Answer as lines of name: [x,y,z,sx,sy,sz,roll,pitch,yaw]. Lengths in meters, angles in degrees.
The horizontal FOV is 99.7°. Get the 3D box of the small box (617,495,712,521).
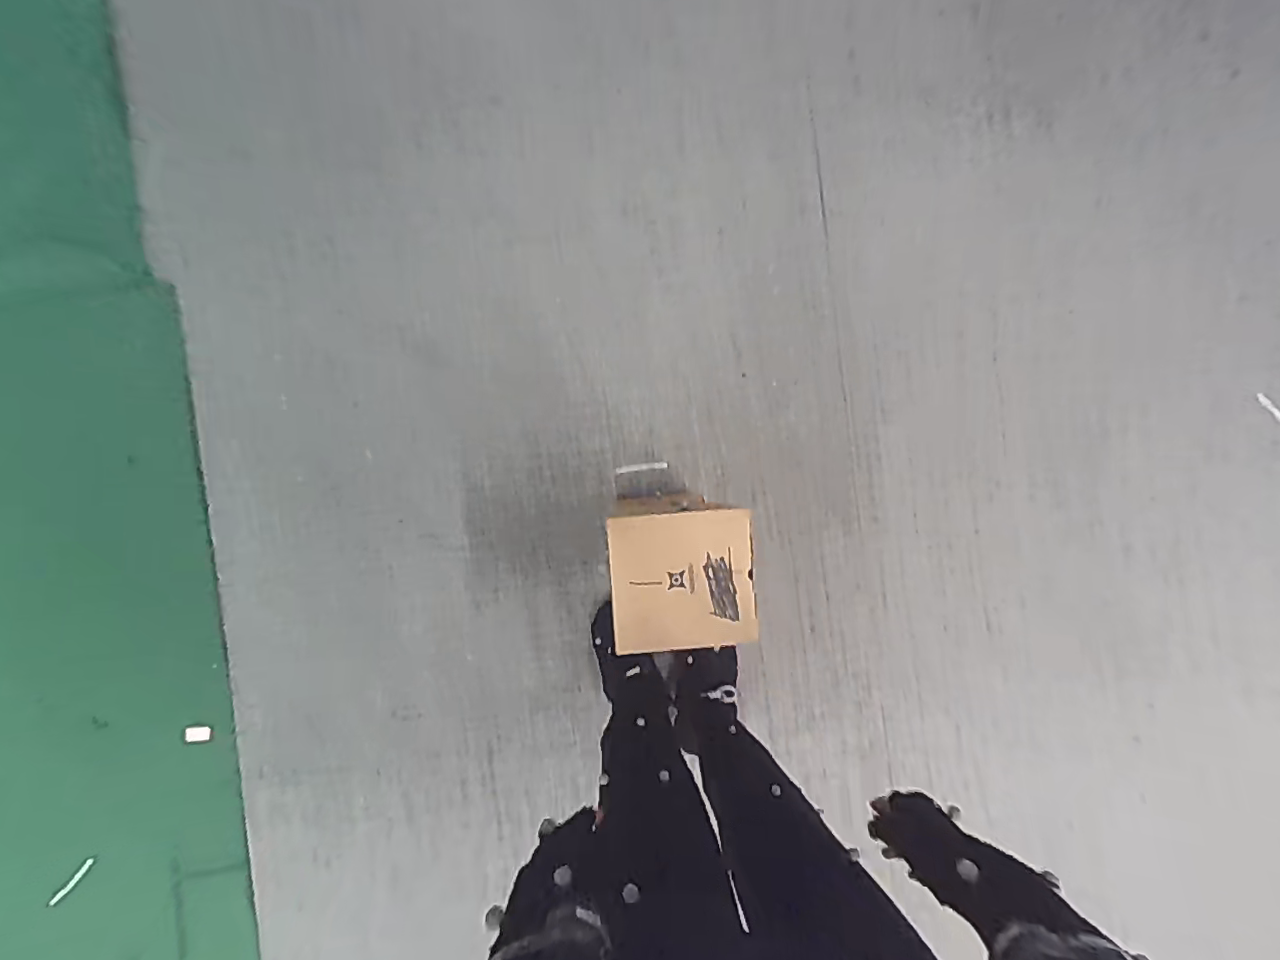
small box: [0.049,0.121,1.063,0.179,0.176,0.168,-7,90,-1]

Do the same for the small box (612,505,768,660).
small box: [0.058,0.127,0.735,0.179,0.176,0.168,-7,90,-3]
